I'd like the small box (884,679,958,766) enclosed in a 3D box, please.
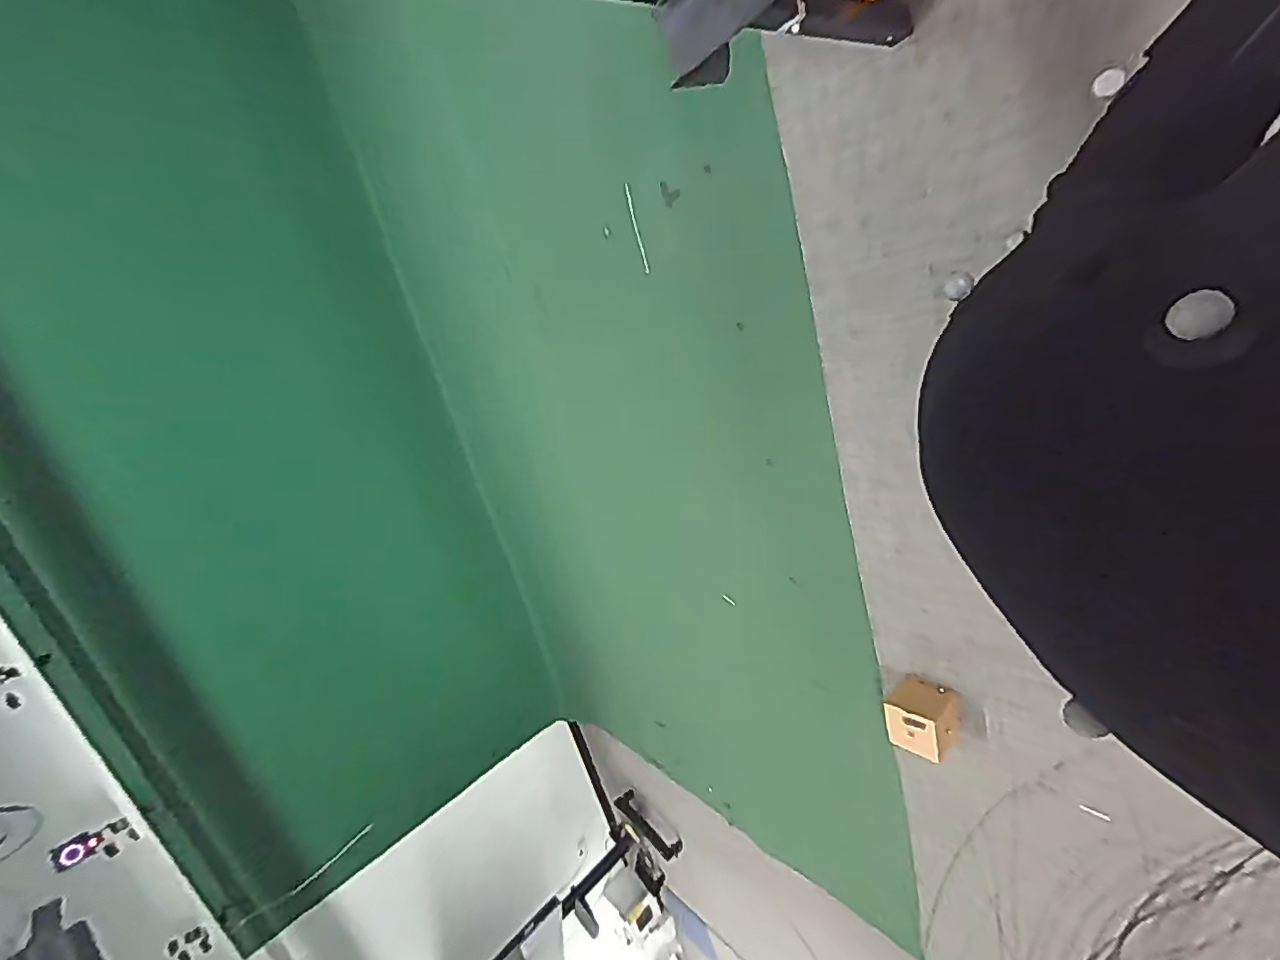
[{"bbox_3d":[0.942,0.801,1.809,0.168,0.176,0.179,6,118,50],"label":"small box"}]
